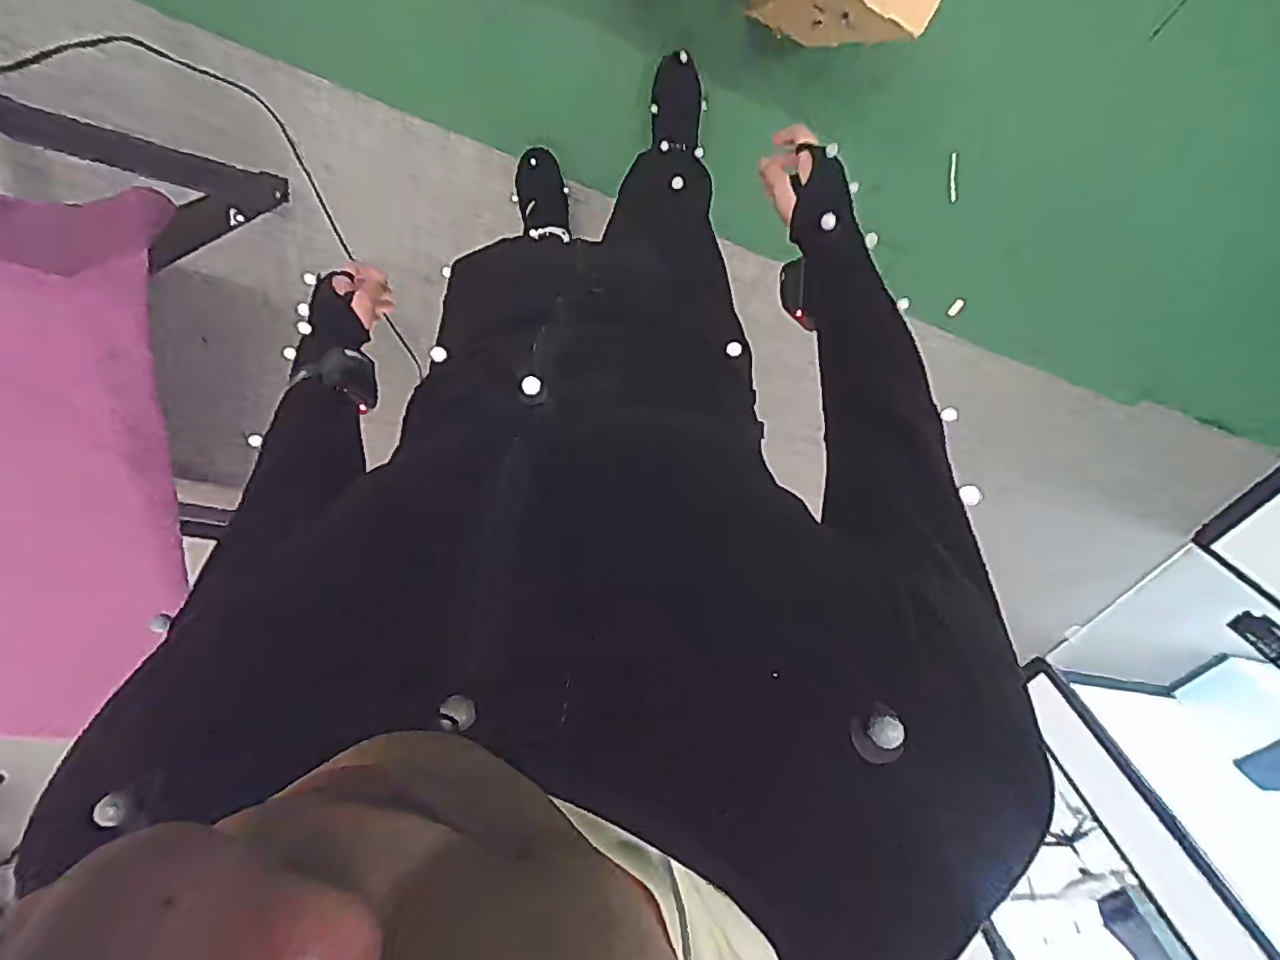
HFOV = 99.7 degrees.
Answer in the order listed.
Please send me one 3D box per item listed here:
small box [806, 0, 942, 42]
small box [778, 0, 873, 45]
[{"bbox_3d":[0.371,-0.796,0.806,0.168,0.176,0.179,15,125,-19],"label":"small box"},{"bbox_3d":[0.356,-0.896,0.937,0.168,0.176,0.179,14,126,-19],"label":"small box"}]
